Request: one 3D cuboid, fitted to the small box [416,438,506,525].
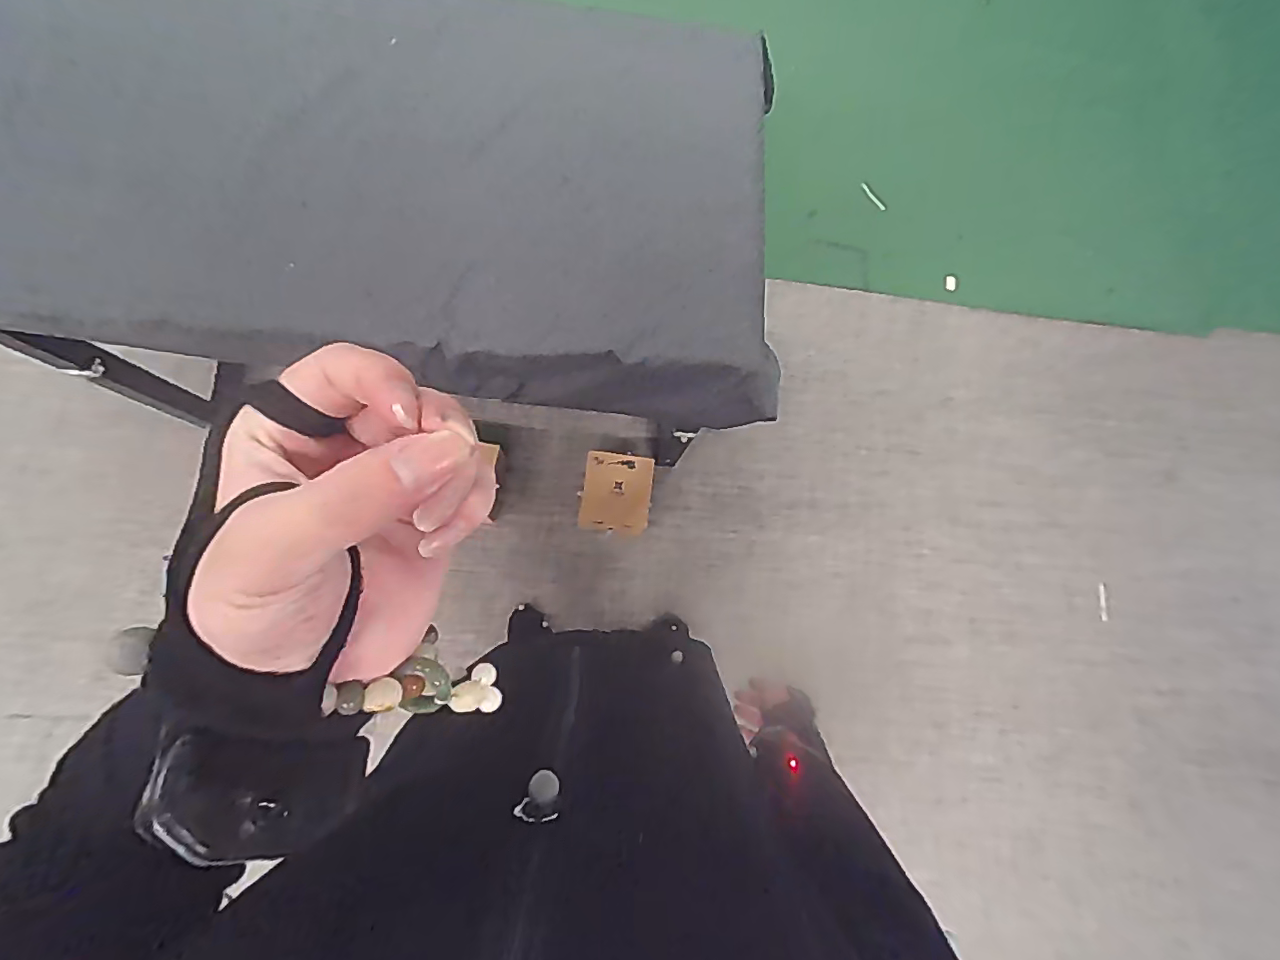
[{"bbox_3d":[-0.436,0.012,1.346,0.168,0.176,0.179,9,77,-5],"label":"small box"}]

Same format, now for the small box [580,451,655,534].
[{"bbox_3d":[-0.059,0.039,1.377,0.168,0.176,0.179,7,77,-4],"label":"small box"}]

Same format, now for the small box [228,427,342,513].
[{"bbox_3d":[-0.848,-0.019,1.310,0.168,0.176,0.179,2,80,-5],"label":"small box"}]
